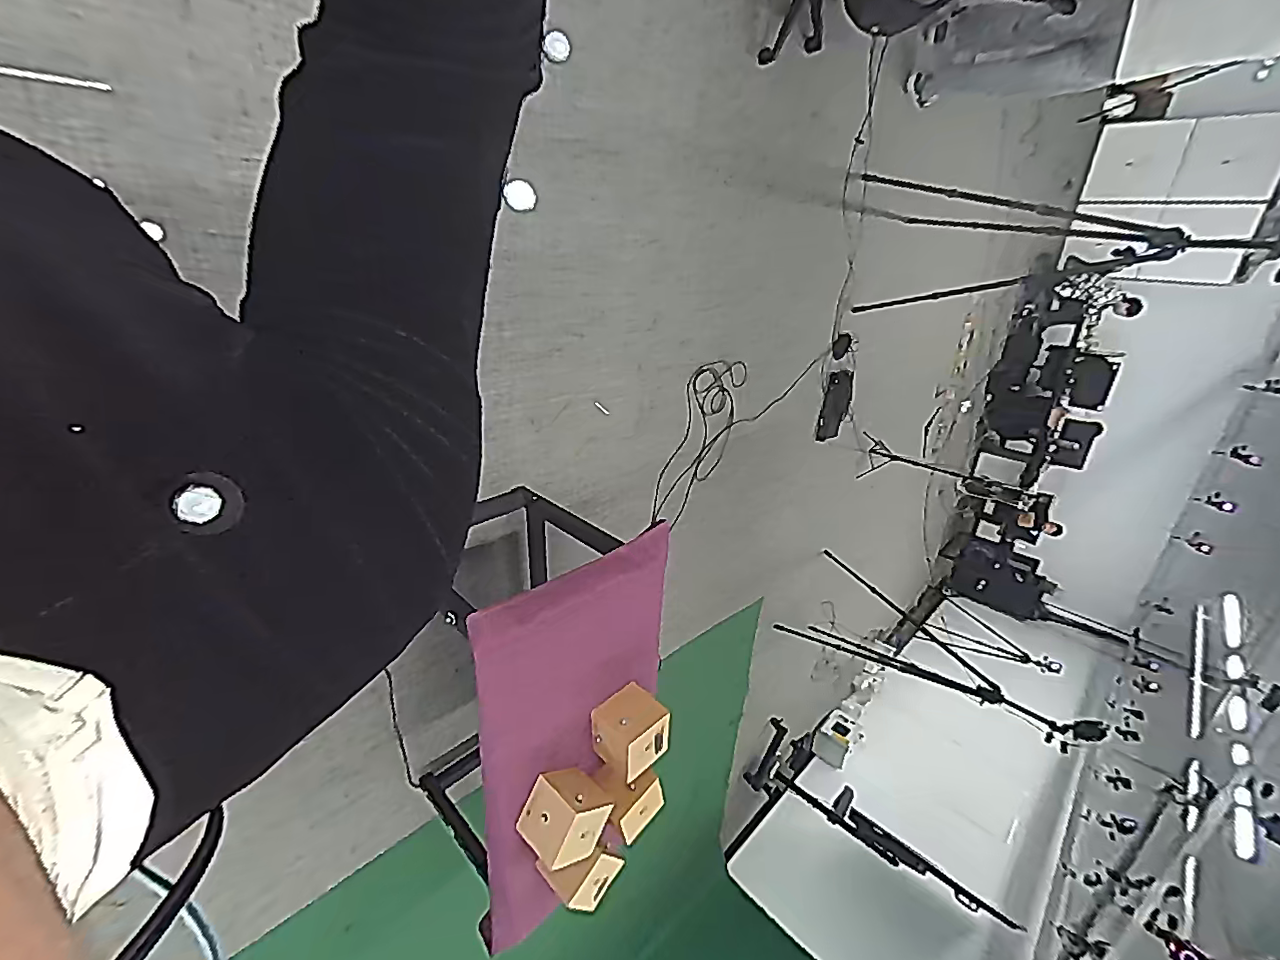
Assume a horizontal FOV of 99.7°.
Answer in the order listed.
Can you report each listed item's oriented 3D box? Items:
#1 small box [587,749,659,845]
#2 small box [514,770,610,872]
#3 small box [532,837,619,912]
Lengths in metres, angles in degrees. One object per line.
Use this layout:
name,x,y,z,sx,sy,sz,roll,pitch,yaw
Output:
small box,-0.064,1.033,1.773,0.179,0.176,0.168,-35,131,-33
small box,-0.226,0.964,1.547,0.179,0.176,0.168,29,85,-52
small box,-0.201,1.205,1.695,0.168,0.176,0.179,-51,137,-20
